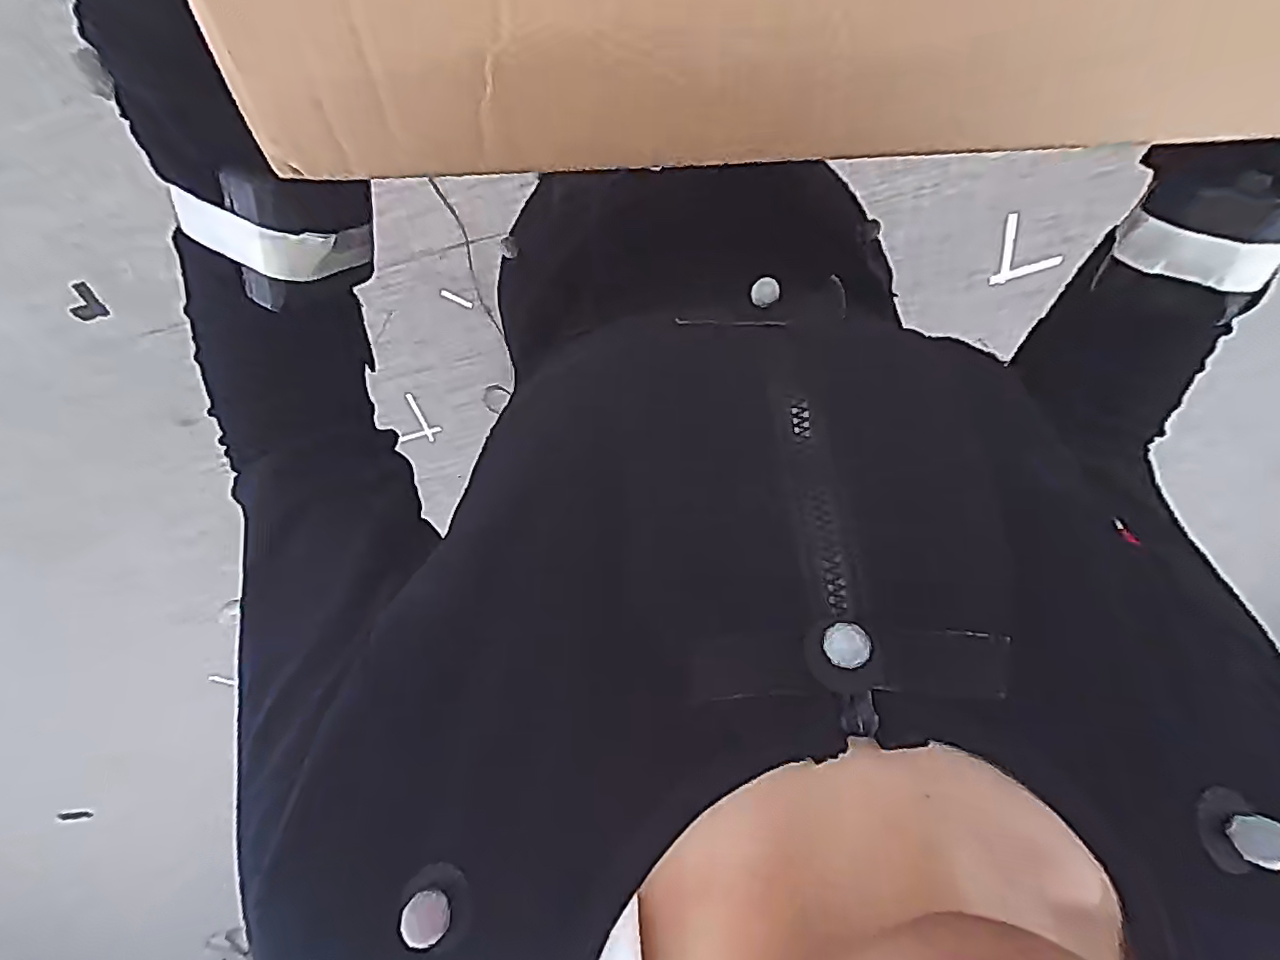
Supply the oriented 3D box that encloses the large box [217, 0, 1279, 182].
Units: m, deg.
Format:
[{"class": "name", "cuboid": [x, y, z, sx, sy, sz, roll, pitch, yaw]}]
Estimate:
[{"class": "large box", "cuboid": [0.048, -0.347, 0.202, 0.408, 0.320, 0.320, -4, 139, -1]}]
